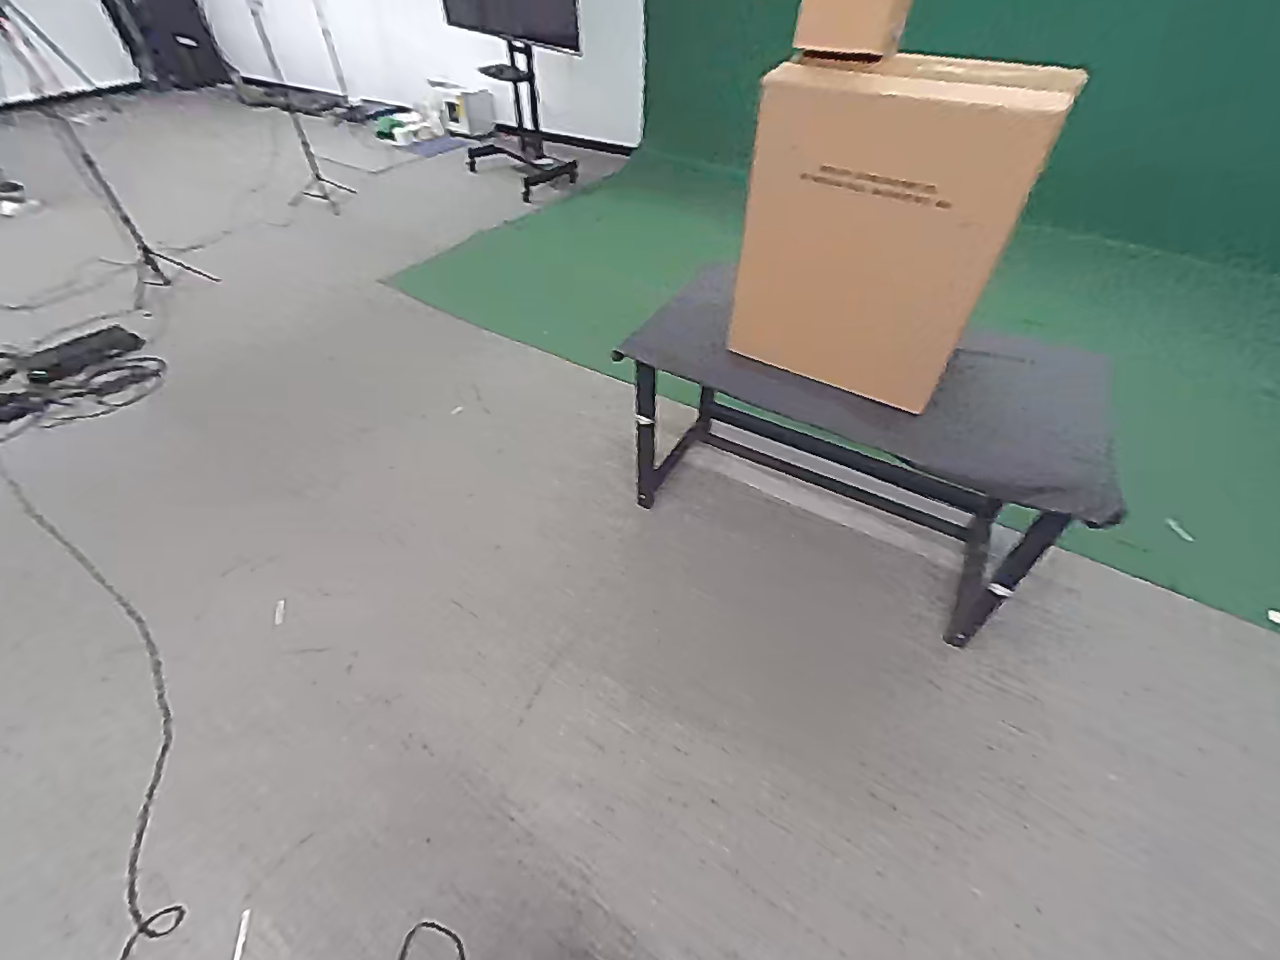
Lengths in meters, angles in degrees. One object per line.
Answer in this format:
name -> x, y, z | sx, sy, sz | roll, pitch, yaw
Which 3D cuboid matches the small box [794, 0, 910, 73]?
small box -> 0.435, -0.947, 1.104 | 0.179, 0.176, 0.168 | 25, 44, 20
